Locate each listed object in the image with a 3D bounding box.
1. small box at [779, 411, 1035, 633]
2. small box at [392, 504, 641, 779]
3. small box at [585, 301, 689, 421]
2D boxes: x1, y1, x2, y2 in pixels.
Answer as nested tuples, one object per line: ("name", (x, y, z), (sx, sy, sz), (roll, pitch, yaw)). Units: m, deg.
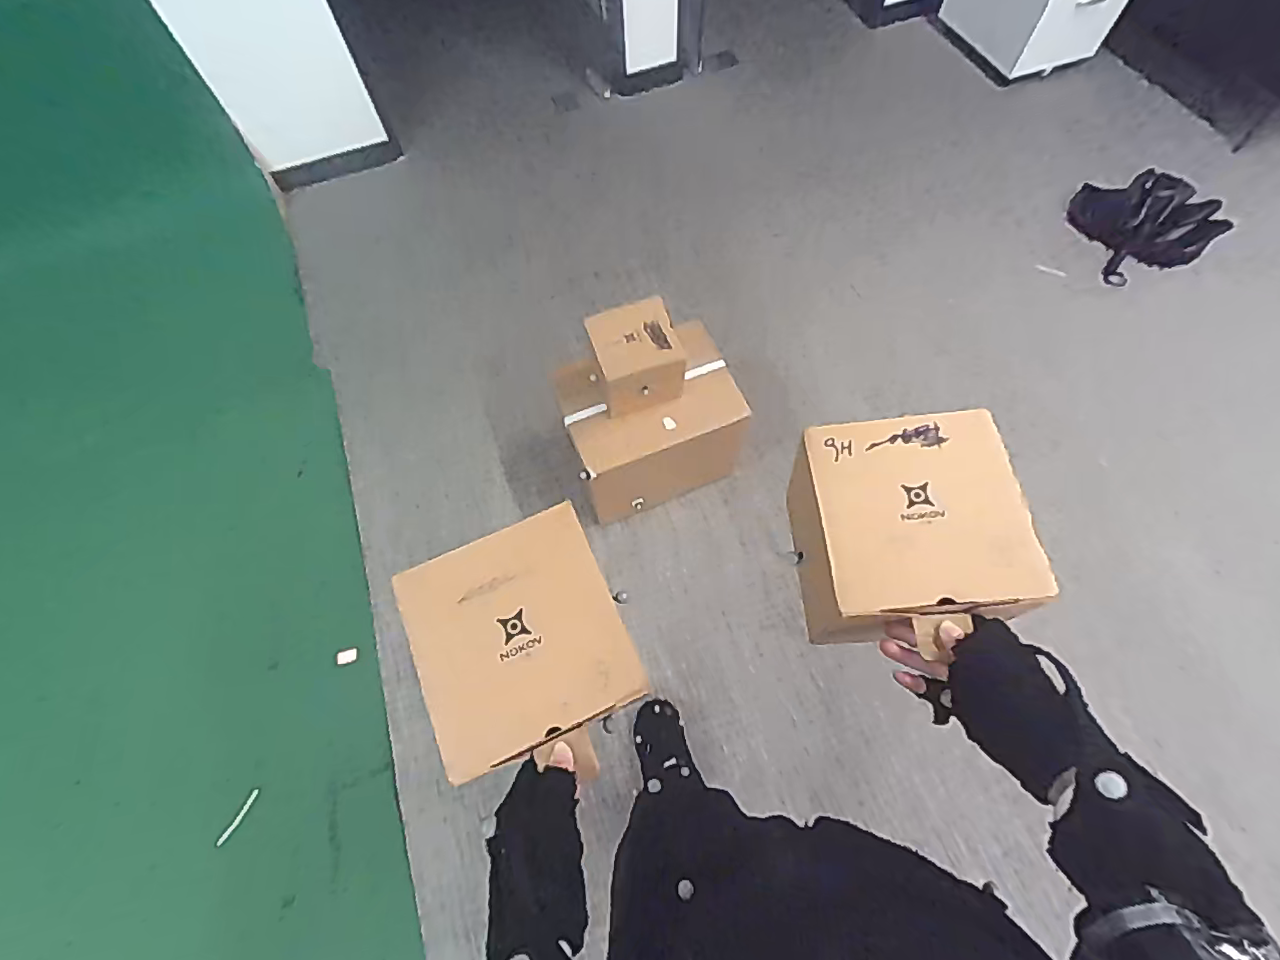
("small box", (0.239, 0.054, 0.538), (0.168, 0.176, 0.179), (-5, 66, 6))
("small box", (-0.104, 0.154, 0.524), (0.168, 0.176, 0.179), (-24, 69, -9))
("small box", (-0.009, -0.257, 1.196), (0.179, 0.176, 0.168), (-22, 72, -8))
